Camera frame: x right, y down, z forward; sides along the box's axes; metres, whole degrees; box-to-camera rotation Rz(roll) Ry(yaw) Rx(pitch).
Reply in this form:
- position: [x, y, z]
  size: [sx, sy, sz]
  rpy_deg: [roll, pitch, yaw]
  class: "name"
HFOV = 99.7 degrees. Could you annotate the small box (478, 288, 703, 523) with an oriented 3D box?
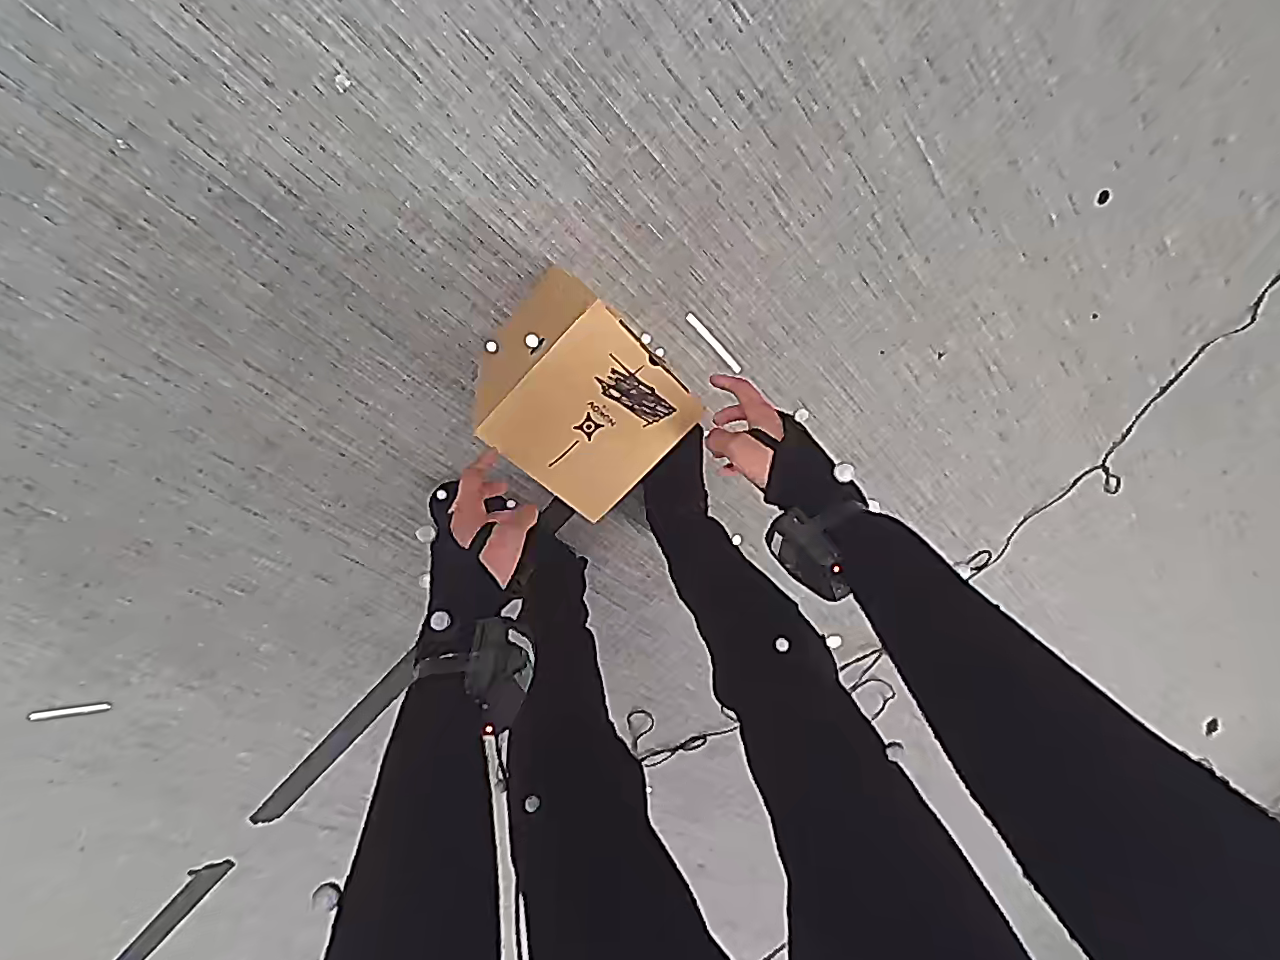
- position: [-0.065, -0.092, 0.611]
  size: [0.179, 0.176, 0.168]
  rpy_deg: [-45, 118, 9]
  class: "small box"
